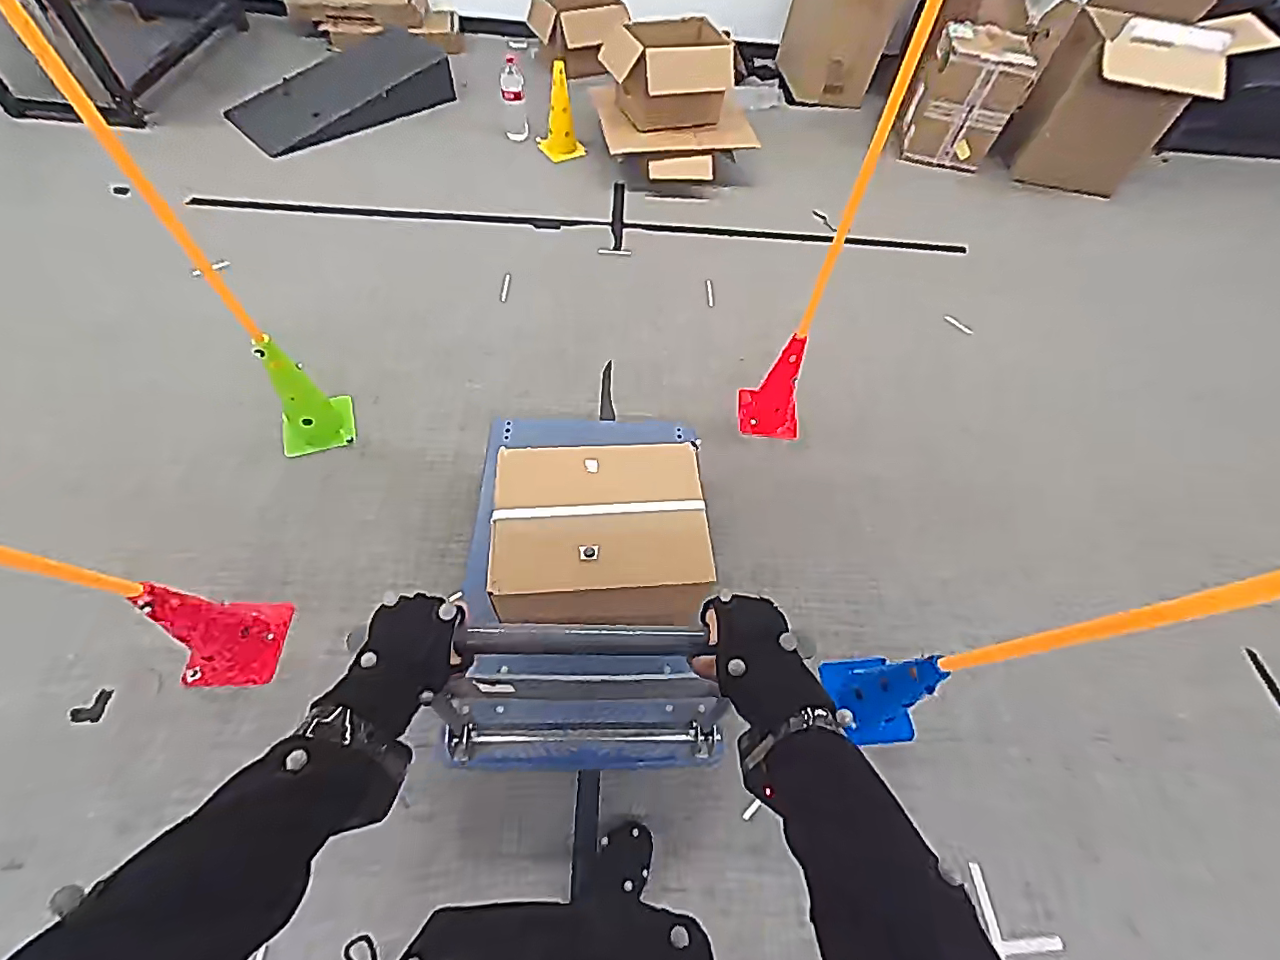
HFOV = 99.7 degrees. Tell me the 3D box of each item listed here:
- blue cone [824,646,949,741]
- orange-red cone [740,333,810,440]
[{"bbox_3d":[0.585,0.458,1.221,0.193,0.380,0.192,-1,57,-6],"label":"blue cone"},{"bbox_3d":[0.454,-0.315,1.684,0.199,0.360,0.198,8,58,-1],"label":"orange-red cone"}]
